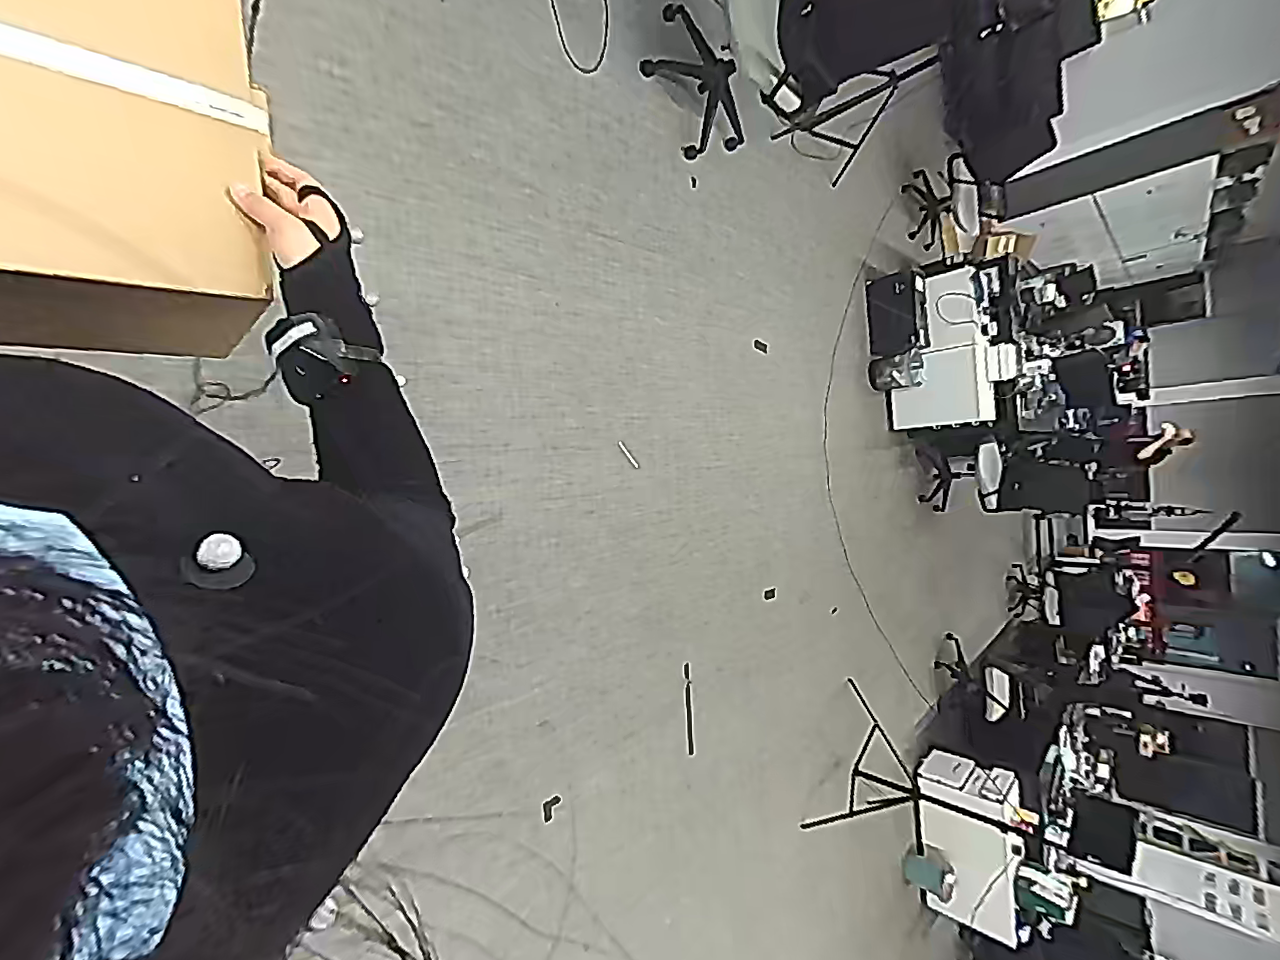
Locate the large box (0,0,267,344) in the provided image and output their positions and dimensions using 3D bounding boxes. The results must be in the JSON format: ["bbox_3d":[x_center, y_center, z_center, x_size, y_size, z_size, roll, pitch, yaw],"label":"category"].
[{"bbox_3d":[-0.593,-0.303,0.455,0.408,0.320,0.320,-7,94,-43],"label":"large box"}]
